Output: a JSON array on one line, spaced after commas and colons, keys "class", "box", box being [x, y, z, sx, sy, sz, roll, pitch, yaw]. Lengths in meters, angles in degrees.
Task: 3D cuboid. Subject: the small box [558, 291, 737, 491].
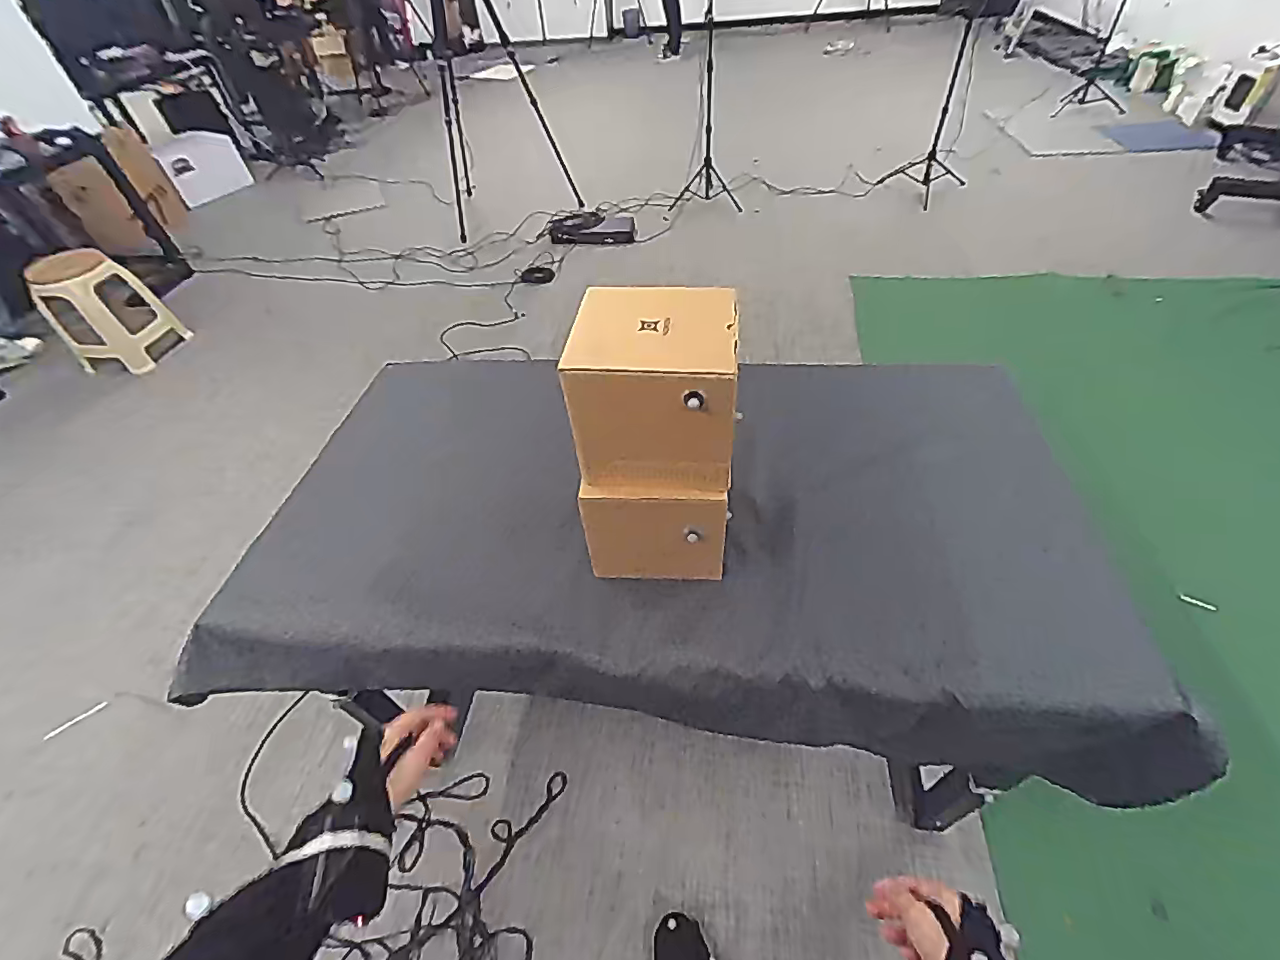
[{"class": "small box", "box": [0.019, -0.102, 0.627, 0.179, 0.176, 0.168, 3, 47, 7]}]
